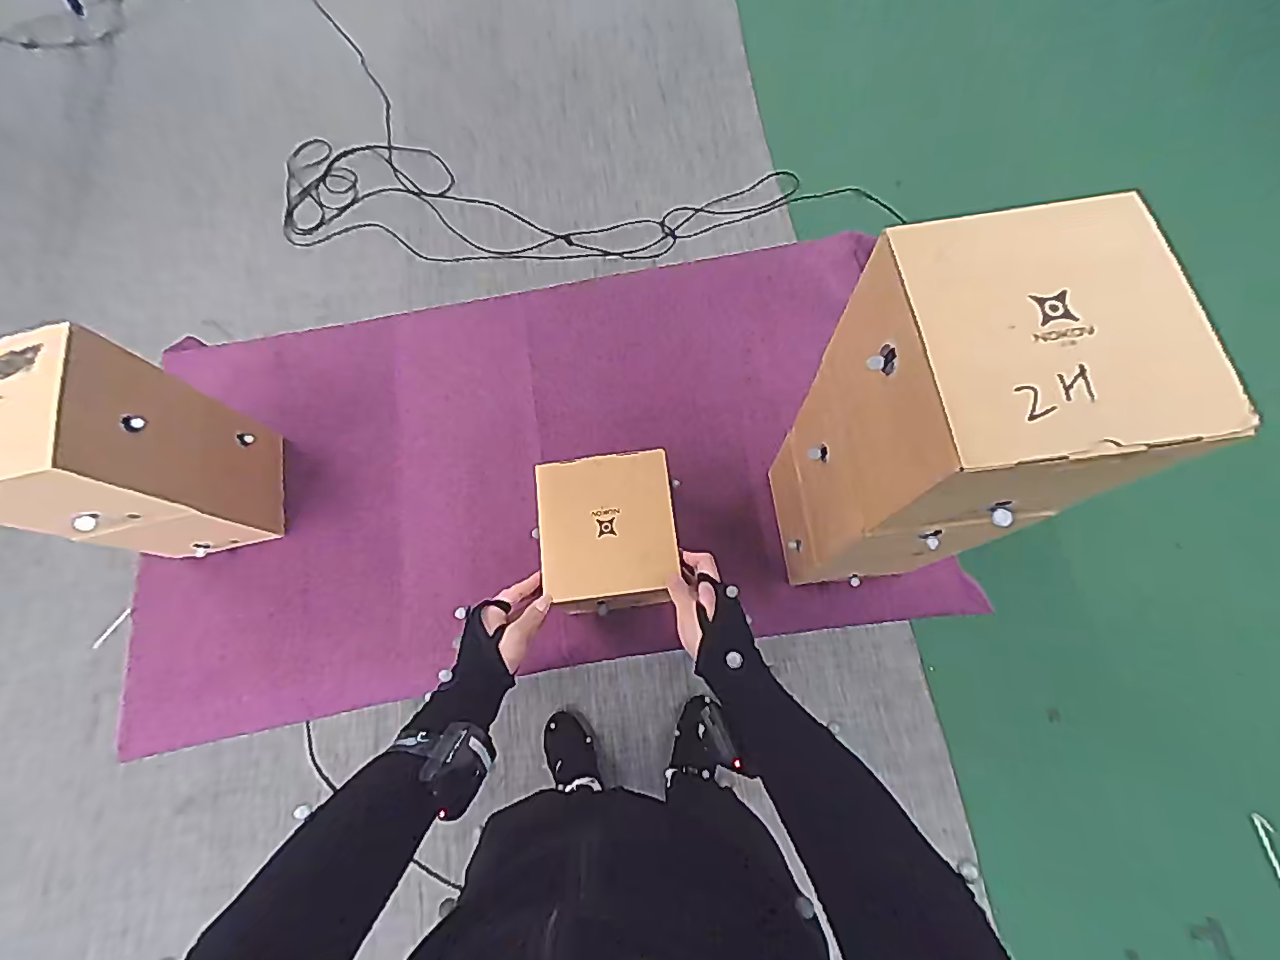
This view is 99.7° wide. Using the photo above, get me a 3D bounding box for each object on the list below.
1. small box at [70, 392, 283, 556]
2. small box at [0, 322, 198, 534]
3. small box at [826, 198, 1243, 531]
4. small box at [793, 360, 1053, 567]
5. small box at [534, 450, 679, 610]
[{"bbox_3d":[-0.654,-0.001,0.787,0.168,0.176,0.179,-12,73,0],"label":"small box"},{"bbox_3d":[-0.663,-0.051,0.631,0.168,0.176,0.179,-13,73,0],"label":"small box"},{"bbox_3d":[0.254,-0.071,0.407,0.168,0.176,0.179,-7,72,2],"label":"small box"},{"bbox_3d":[0.267,-0.017,0.563,0.168,0.176,0.179,-7,71,3],"label":"small box"},{"bbox_3d":[-0.039,0.078,0.727,0.168,0.176,0.179,-8,71,1],"label":"small box"}]
